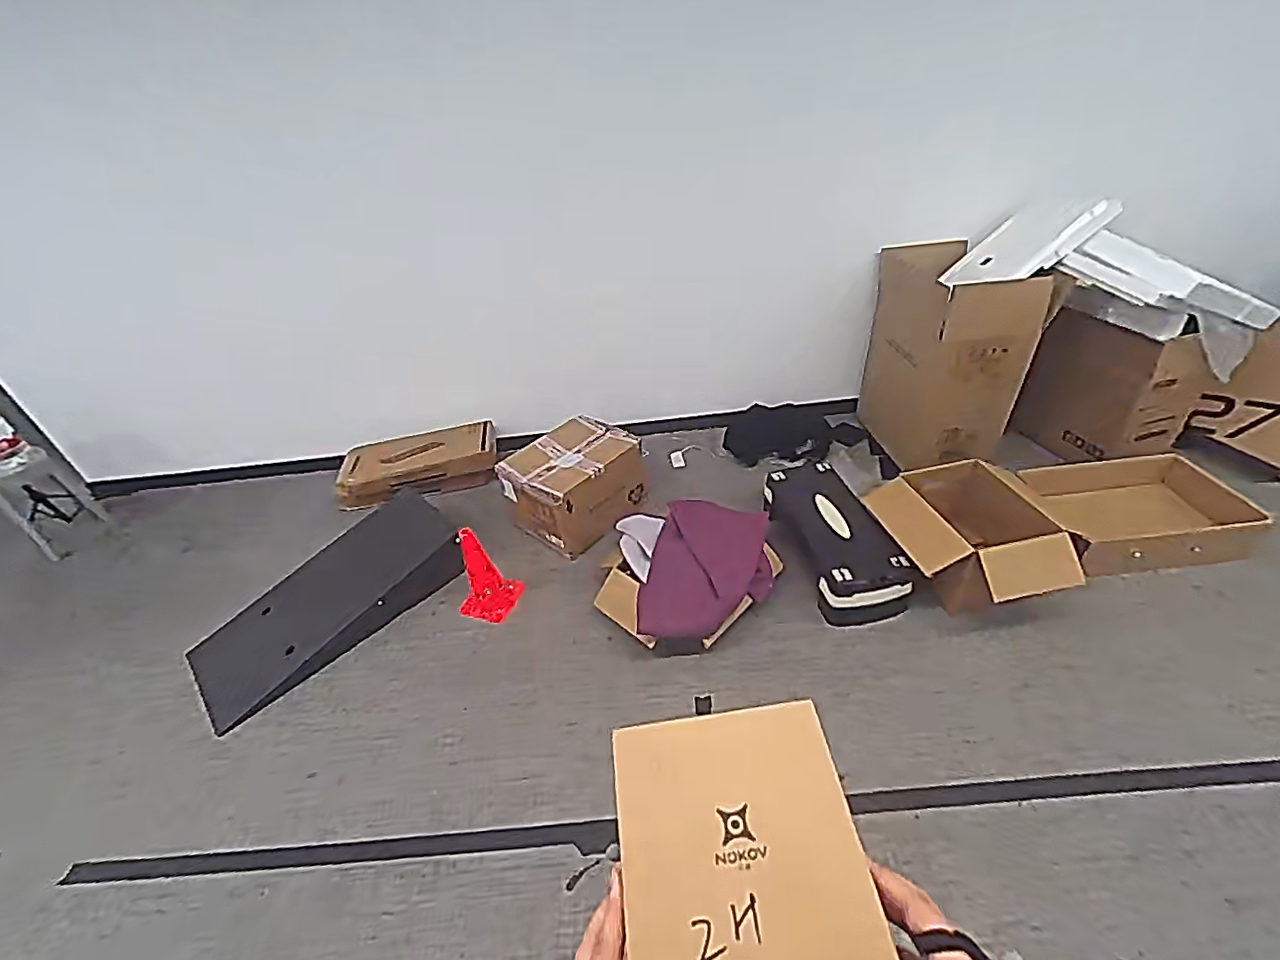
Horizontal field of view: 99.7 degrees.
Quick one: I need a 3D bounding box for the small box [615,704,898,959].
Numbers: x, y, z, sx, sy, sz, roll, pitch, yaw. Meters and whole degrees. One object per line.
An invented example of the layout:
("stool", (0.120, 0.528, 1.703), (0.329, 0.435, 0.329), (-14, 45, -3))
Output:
("small box", (0.075, 0.306, 0.426), (0.168, 0.176, 0.179), (-9, 45, 1))
